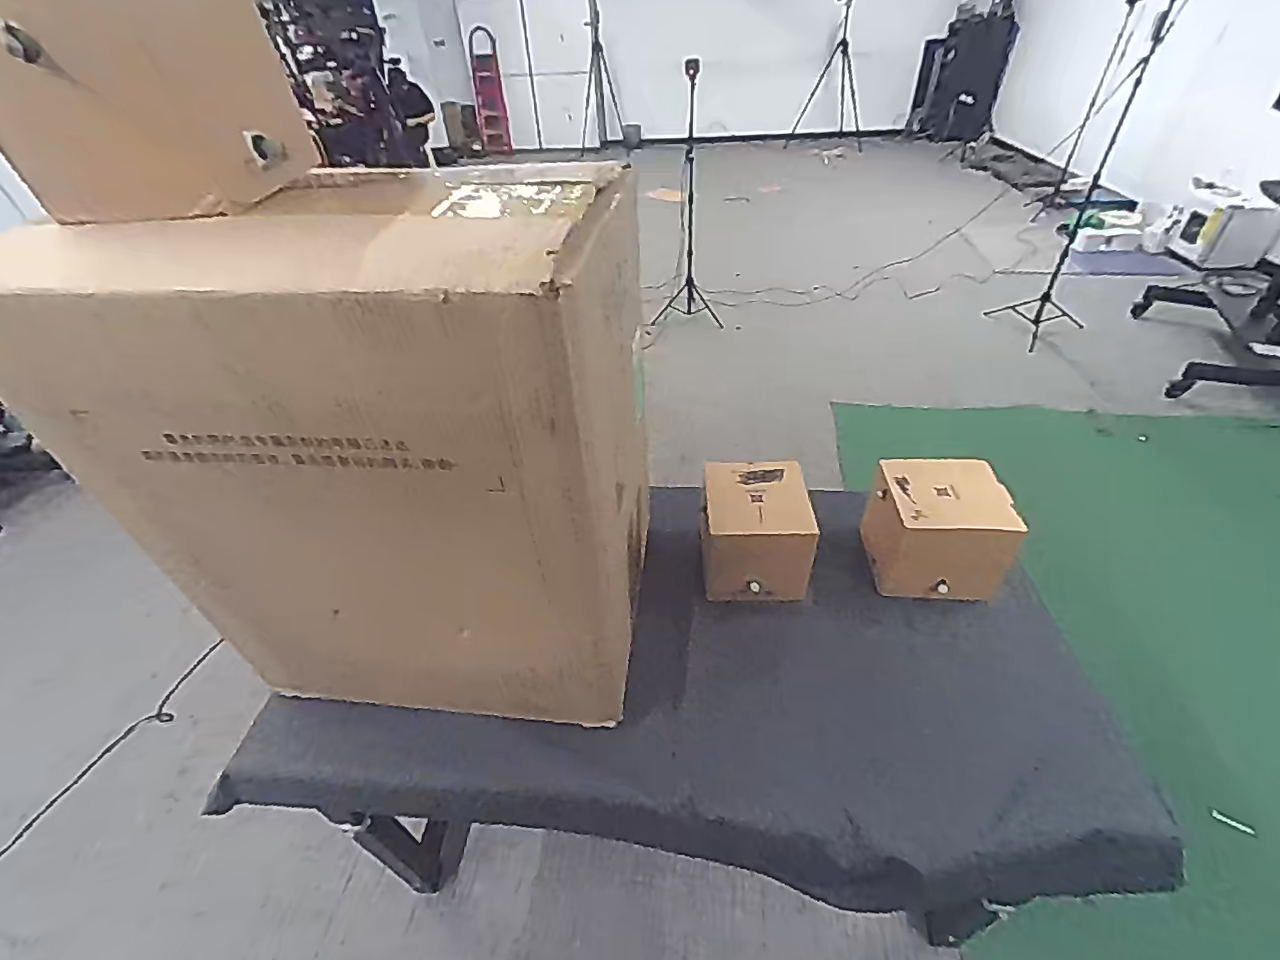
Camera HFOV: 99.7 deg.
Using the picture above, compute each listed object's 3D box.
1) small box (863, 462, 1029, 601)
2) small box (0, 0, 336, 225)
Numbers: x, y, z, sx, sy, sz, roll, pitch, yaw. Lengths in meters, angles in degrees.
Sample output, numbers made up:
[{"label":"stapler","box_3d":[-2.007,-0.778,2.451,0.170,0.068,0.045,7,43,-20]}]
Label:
[{"label":"small box","box_3d":[0.500,0.088,0.915,0.179,0.176,0.168,2,40,6]},{"label":"small box","box_3d":[-0.423,-0.344,0.490,0.179,0.176,0.168,0,46,3]}]
